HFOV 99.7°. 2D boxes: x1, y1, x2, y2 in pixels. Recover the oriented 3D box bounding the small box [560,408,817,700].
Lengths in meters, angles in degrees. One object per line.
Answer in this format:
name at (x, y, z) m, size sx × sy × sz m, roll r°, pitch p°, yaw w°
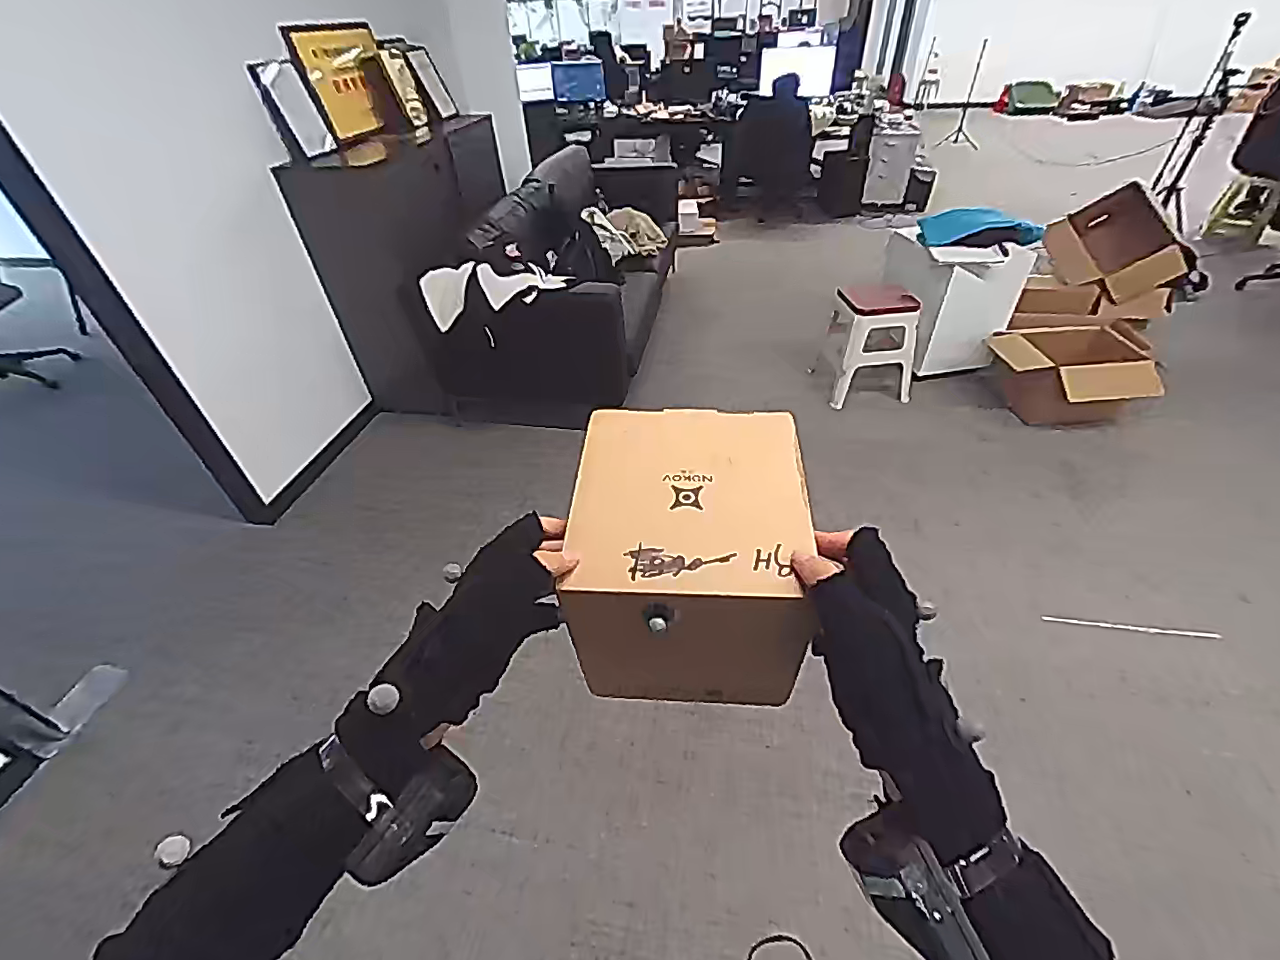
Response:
small box at (0.041, 0.059, 0.453) m, size 0.168 × 0.176 × 0.179 m, roll 1°, pitch 46°, yaw 6°
